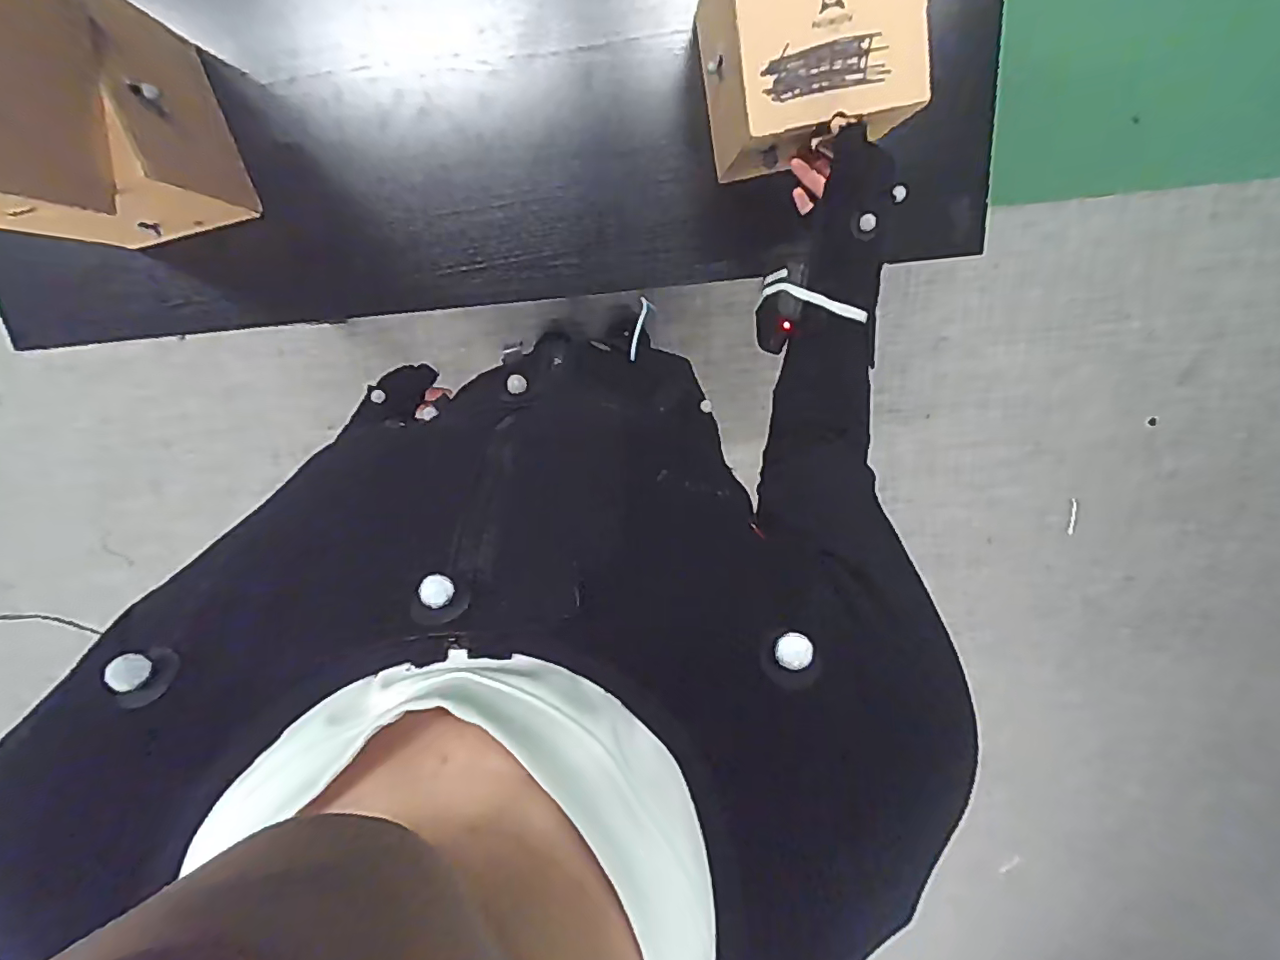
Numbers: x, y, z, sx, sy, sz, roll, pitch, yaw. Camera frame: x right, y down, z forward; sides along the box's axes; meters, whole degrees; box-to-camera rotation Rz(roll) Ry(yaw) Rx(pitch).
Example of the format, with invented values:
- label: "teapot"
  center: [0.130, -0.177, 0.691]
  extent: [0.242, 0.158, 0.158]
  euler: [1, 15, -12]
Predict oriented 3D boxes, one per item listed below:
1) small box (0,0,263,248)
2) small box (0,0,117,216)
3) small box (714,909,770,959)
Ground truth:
- label: "small box"
  center: [-0.531, -0.347, 0.537]
  extent: [0.168, 0.176, 0.179]
  euler: [-14, 108, 1]
- label: "small box"
  center: [-0.527, -0.299, 0.380]
  extent: [0.168, 0.176, 0.179]
  euler: [6, 106, -5]
- label: "small box"
  center: [0.371, 1.712, 1.963]
  extent: [0.179, 0.176, 0.168]
  euler: [-12, 108, 0]
